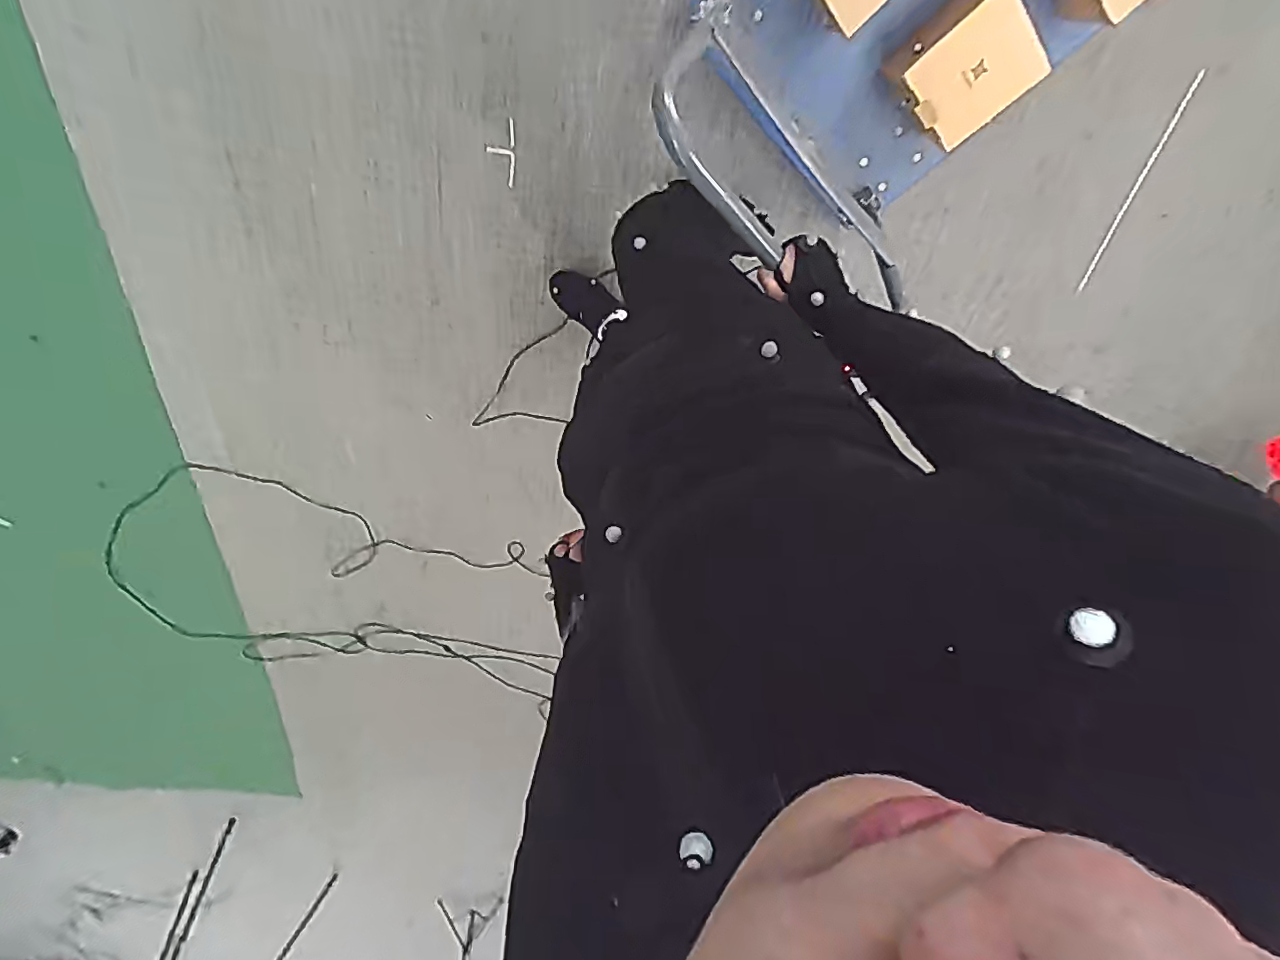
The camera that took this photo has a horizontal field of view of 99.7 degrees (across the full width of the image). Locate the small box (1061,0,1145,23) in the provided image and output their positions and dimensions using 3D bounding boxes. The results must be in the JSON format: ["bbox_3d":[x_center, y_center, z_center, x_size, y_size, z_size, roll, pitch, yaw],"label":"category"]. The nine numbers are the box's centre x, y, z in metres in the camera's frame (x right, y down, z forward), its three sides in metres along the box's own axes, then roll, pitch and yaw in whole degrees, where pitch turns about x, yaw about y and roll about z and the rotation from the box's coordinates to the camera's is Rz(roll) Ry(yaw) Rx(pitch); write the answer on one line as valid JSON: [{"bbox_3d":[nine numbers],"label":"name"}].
[{"bbox_3d":[0.748,-0.850,0.818,0.168,0.176,0.179,37,130,-21],"label":"small box"}]

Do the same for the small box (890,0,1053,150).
[{"bbox_3d":[0.575,-0.739,0.959,0.168,0.176,0.179,39,129,-24],"label":"small box"}]
